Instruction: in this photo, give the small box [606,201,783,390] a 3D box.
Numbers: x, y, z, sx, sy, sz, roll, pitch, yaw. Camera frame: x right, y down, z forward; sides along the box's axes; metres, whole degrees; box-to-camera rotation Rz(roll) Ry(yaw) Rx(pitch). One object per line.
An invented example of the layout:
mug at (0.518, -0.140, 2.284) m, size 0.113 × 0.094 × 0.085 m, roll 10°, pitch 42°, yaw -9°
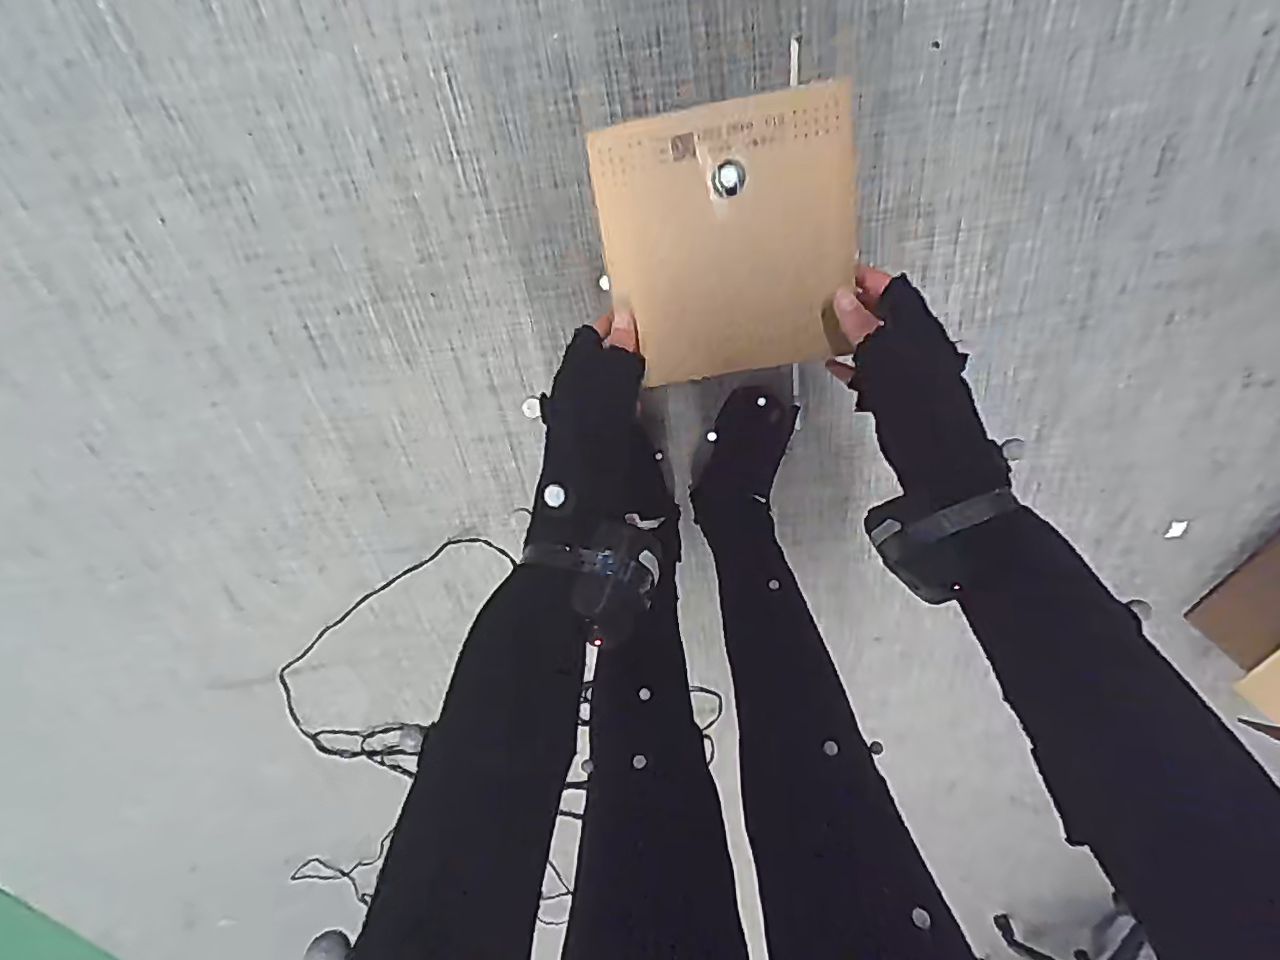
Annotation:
small box at (0.065, -0.228, 0.654) m, size 0.179 × 0.176 × 0.168 m, roll -9°, pitch 120°, yaw 8°
